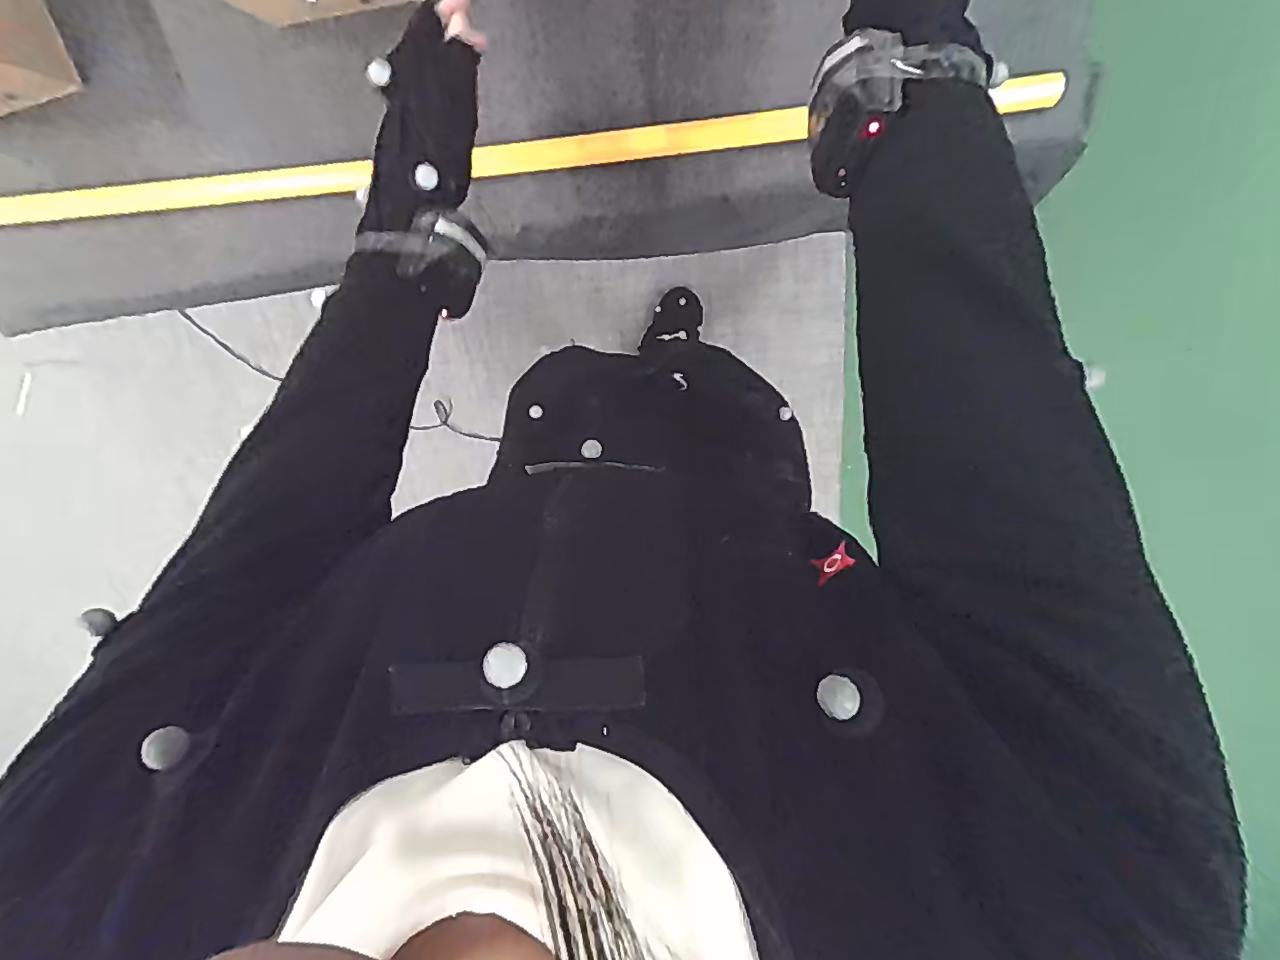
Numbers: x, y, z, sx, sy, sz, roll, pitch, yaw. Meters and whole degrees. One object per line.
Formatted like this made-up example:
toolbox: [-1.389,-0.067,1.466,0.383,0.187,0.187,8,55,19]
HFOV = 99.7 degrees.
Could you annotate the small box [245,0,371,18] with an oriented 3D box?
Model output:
small box: [-0.285,-0.489,0.406,0.168,0.176,0.179,-6,112,9]

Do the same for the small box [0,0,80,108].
small box: [-0.662,-0.437,0.461,0.168,0.176,0.179,-10,110,7]
